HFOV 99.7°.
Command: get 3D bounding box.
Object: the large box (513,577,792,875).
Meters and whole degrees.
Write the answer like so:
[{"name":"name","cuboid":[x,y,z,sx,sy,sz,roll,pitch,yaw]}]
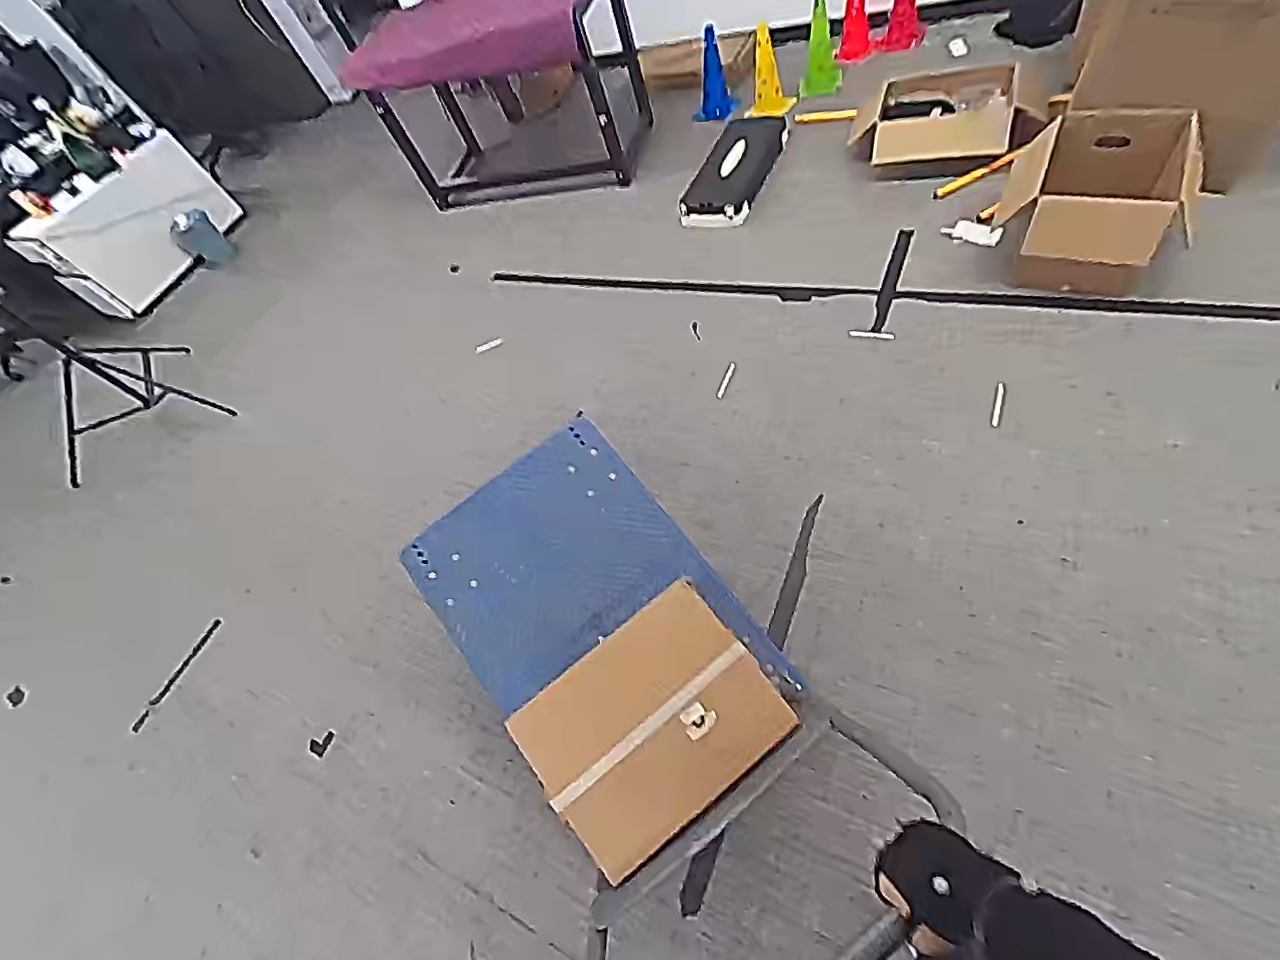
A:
[{"name":"large box","cuboid":[0.023,0.454,1.085,0.408,0.320,0.320,-38,78,-9]}]
